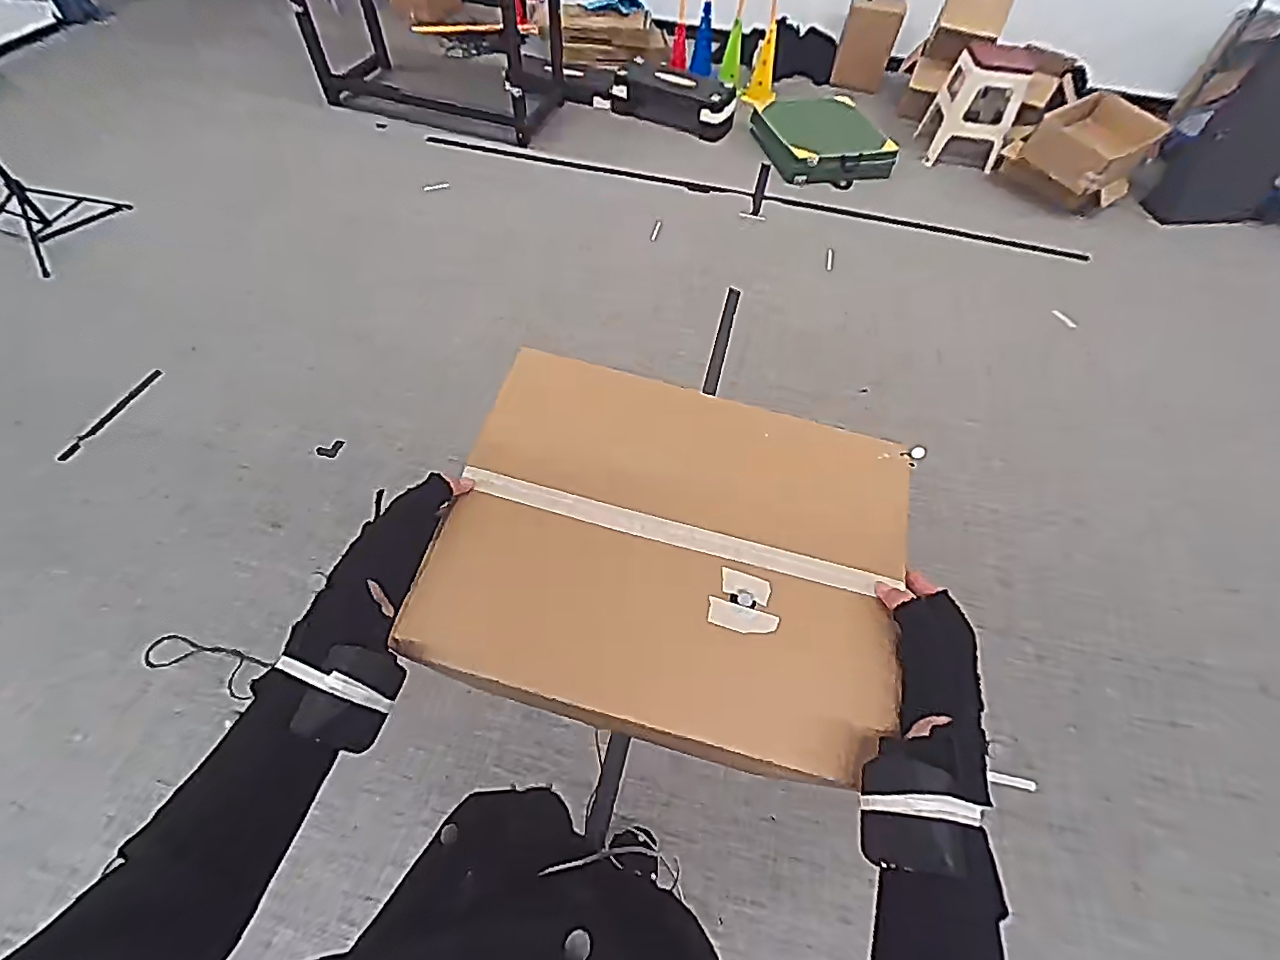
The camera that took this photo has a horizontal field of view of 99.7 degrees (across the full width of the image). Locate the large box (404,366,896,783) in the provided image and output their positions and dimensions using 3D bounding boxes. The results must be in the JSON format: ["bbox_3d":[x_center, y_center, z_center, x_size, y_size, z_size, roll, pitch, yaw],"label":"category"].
[{"bbox_3d":[0.021,0.122,0.625,0.408,0.320,0.320,15,64,2],"label":"large box"}]
